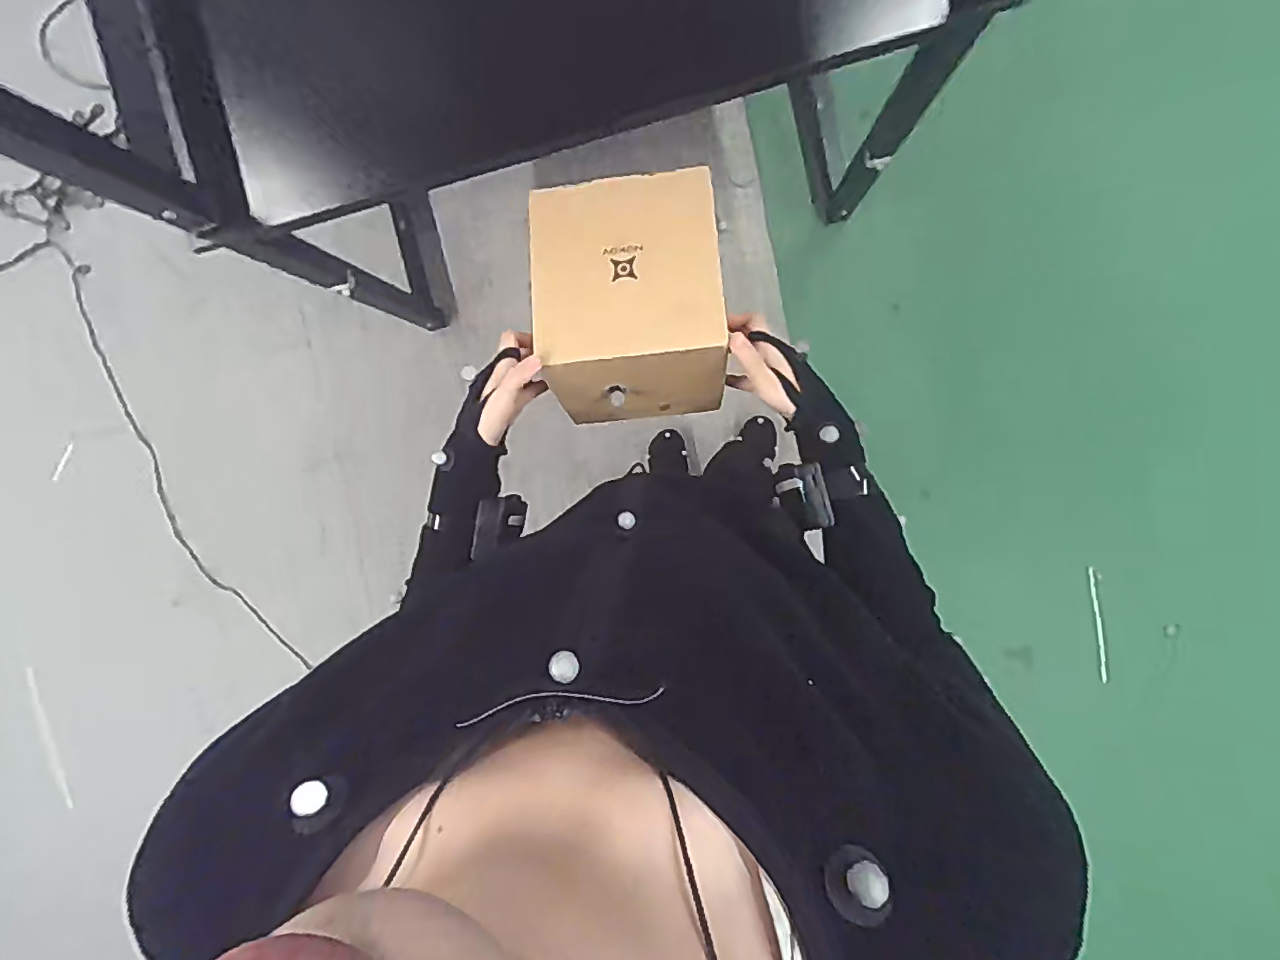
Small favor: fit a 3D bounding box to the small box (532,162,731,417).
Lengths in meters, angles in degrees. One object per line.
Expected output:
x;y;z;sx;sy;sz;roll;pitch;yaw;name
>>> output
-0.003;-0.168;0.533;0.168;0.176;0.179;-5;77;4;small box
